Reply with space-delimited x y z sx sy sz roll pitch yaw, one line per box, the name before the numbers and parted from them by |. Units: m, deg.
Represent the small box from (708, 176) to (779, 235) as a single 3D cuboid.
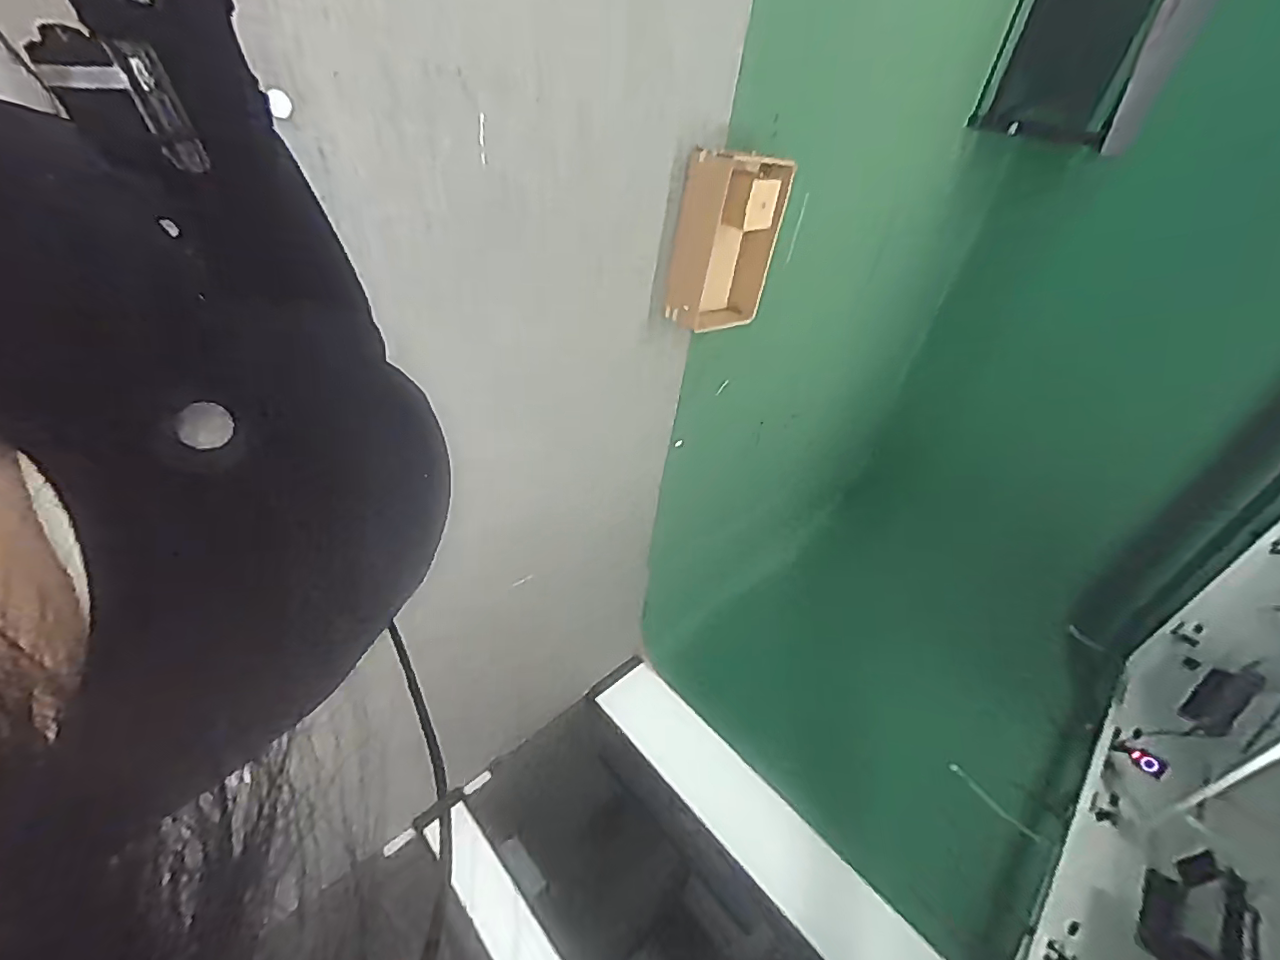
small box | 0.383 -1.027 2.014 0.179 0.176 0.168 -25 138 -36
